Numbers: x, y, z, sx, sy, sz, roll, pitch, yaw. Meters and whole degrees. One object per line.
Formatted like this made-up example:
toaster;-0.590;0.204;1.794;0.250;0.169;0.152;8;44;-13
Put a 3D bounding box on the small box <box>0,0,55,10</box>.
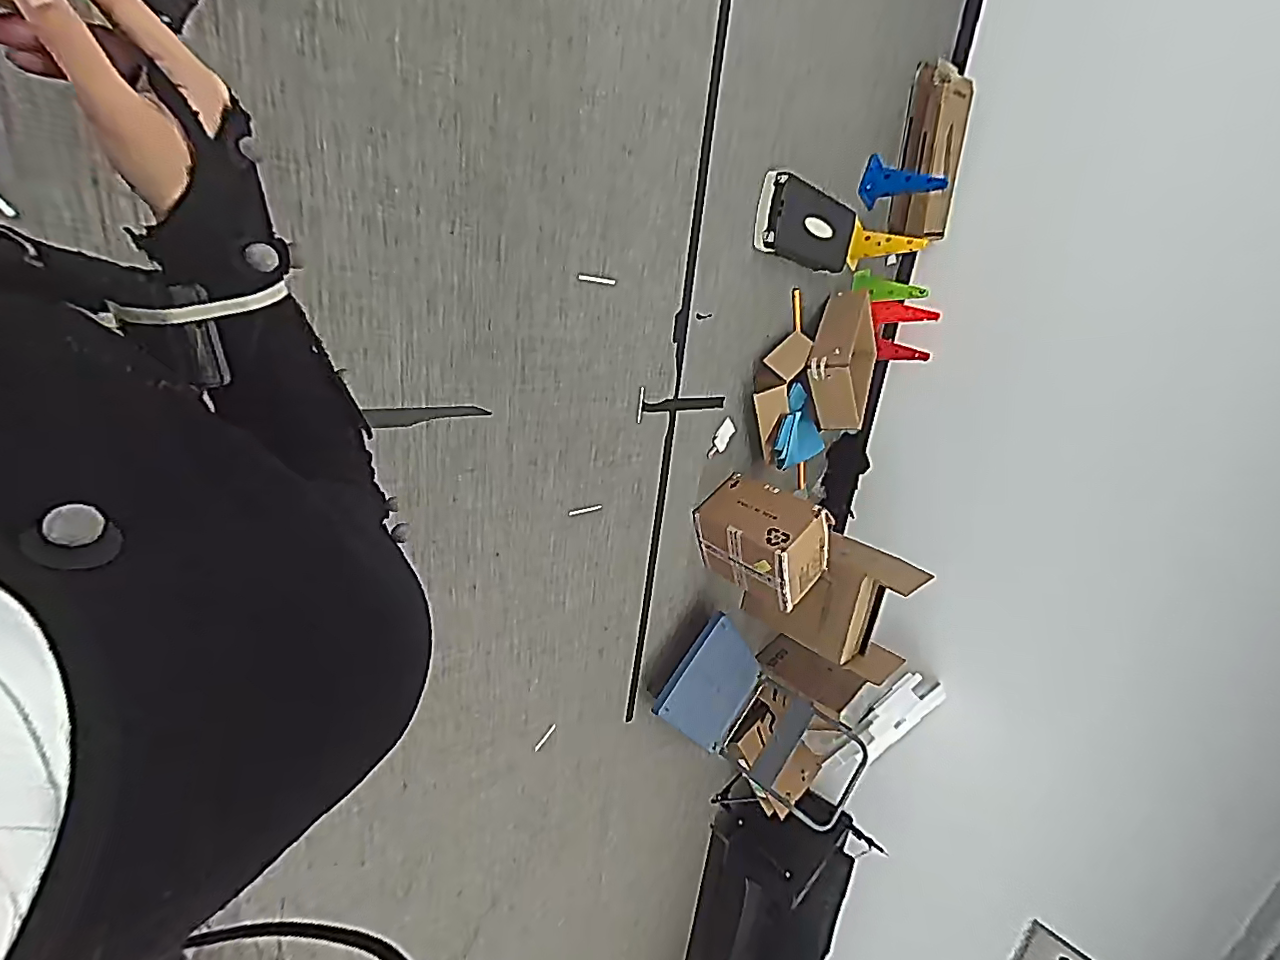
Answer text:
small box;-0.337;-0.312;0.190;0.168;0.176;0.179;-6;123;-46
